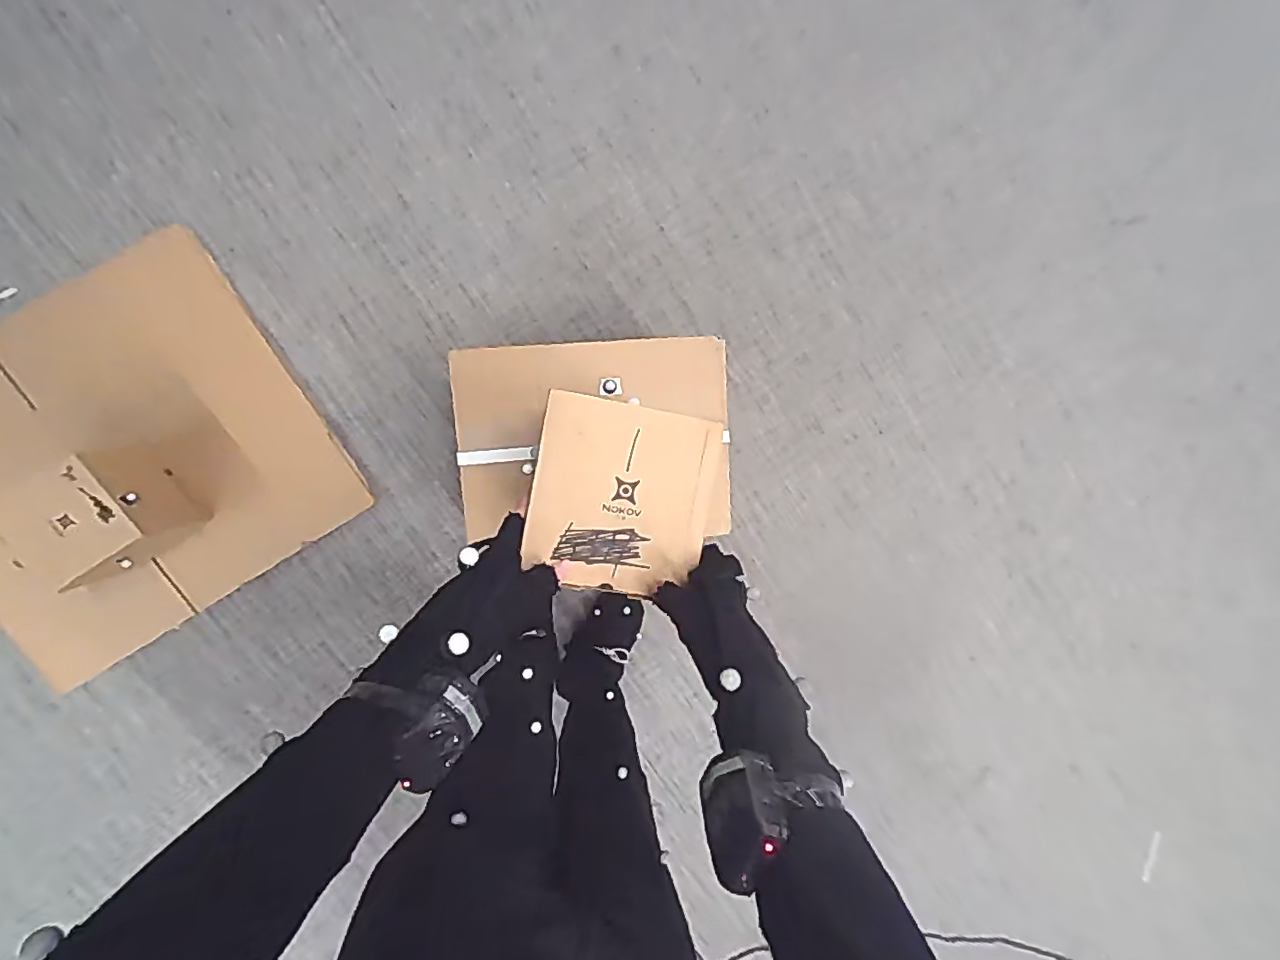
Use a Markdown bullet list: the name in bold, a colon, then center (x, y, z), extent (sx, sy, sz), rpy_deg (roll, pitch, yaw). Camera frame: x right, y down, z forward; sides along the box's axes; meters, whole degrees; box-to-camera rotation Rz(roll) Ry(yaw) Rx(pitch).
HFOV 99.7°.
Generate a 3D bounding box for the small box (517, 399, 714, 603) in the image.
- **small box**: center (-0.031, 0.015, 0.579), extent (0.168, 0.176, 0.179), rpy_deg (7, 94, -8)

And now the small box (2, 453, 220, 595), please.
- **small box**: center (-0.902, 0.068, 0.943), extent (0.179, 0.176, 0.168), rpy_deg (-37, 96, -1)
